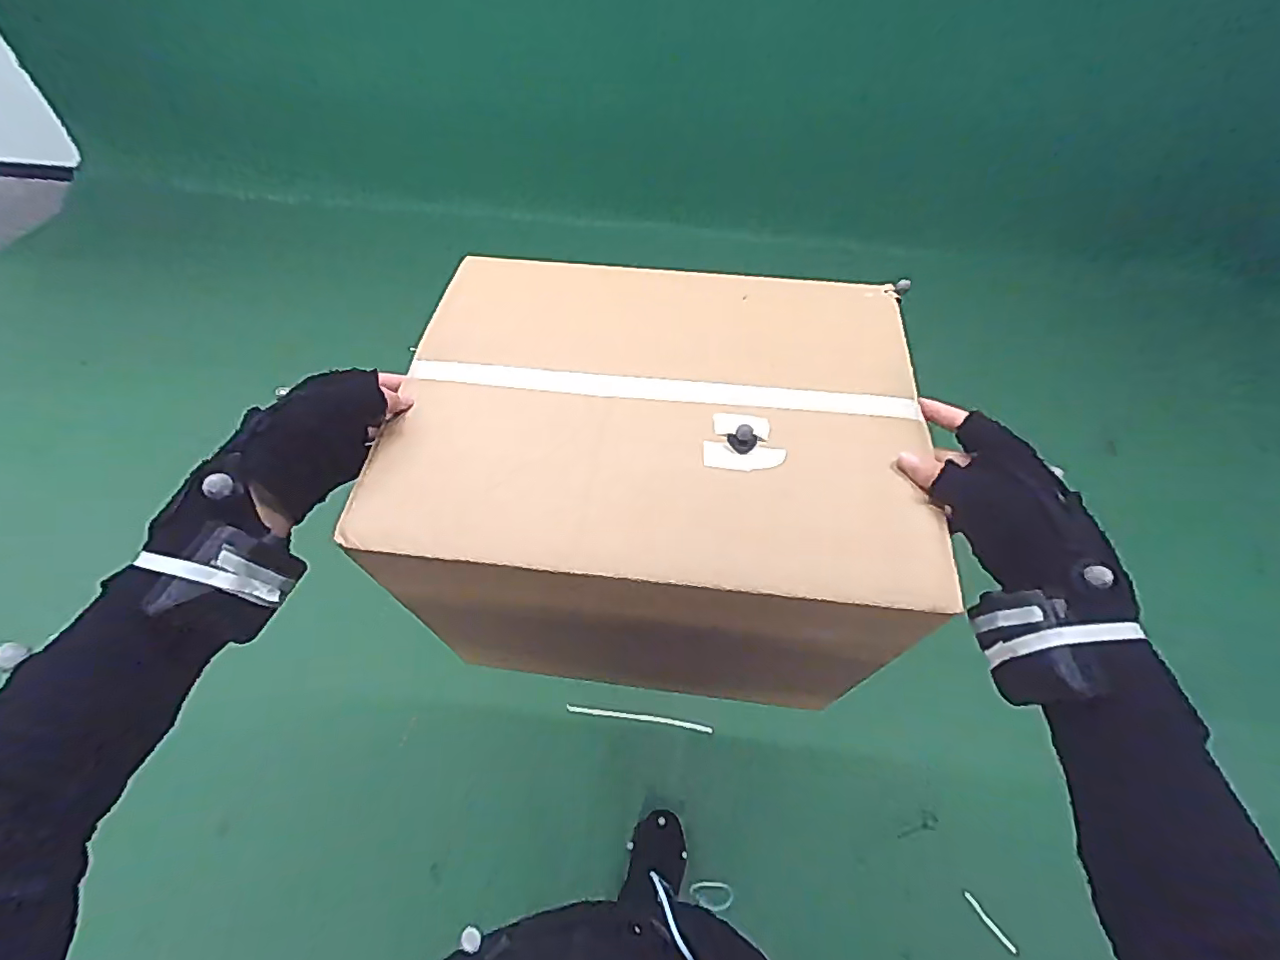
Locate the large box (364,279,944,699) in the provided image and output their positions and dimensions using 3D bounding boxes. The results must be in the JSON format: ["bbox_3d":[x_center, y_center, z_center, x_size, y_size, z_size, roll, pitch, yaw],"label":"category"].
[{"bbox_3d":[0.018,0.021,0.568,0.408,0.320,0.320,5,58,4],"label":"large box"}]
